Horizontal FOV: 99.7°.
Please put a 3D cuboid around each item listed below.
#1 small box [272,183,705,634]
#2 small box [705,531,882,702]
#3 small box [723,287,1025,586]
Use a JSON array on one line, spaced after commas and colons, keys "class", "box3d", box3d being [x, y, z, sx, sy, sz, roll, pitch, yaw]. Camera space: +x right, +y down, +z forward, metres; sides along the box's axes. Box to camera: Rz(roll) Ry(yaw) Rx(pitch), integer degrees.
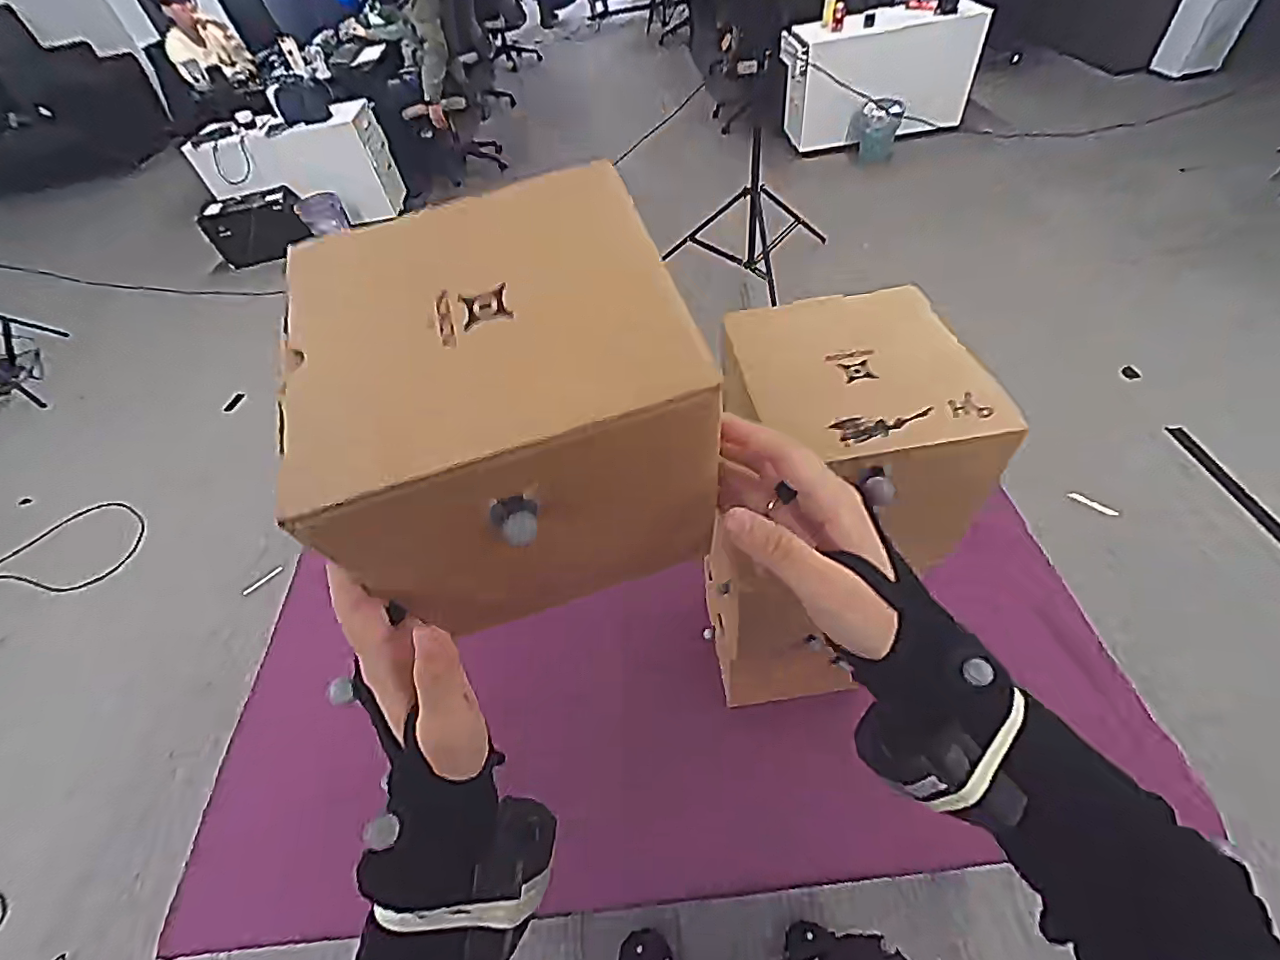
[{"class": "small box", "box3d": [-0.072, -0.030, 0.317, 0.179, 0.176, 0.168, -18, 60, -4]}, {"class": "small box", "box3d": [0.186, 0.176, 0.712, 0.179, 0.176, 0.168, -9, 49, 2]}, {"class": "small box", "box3d": [0.166, -0.034, 0.460, 0.168, 0.176, 0.179, -9, 50, 1]}]
